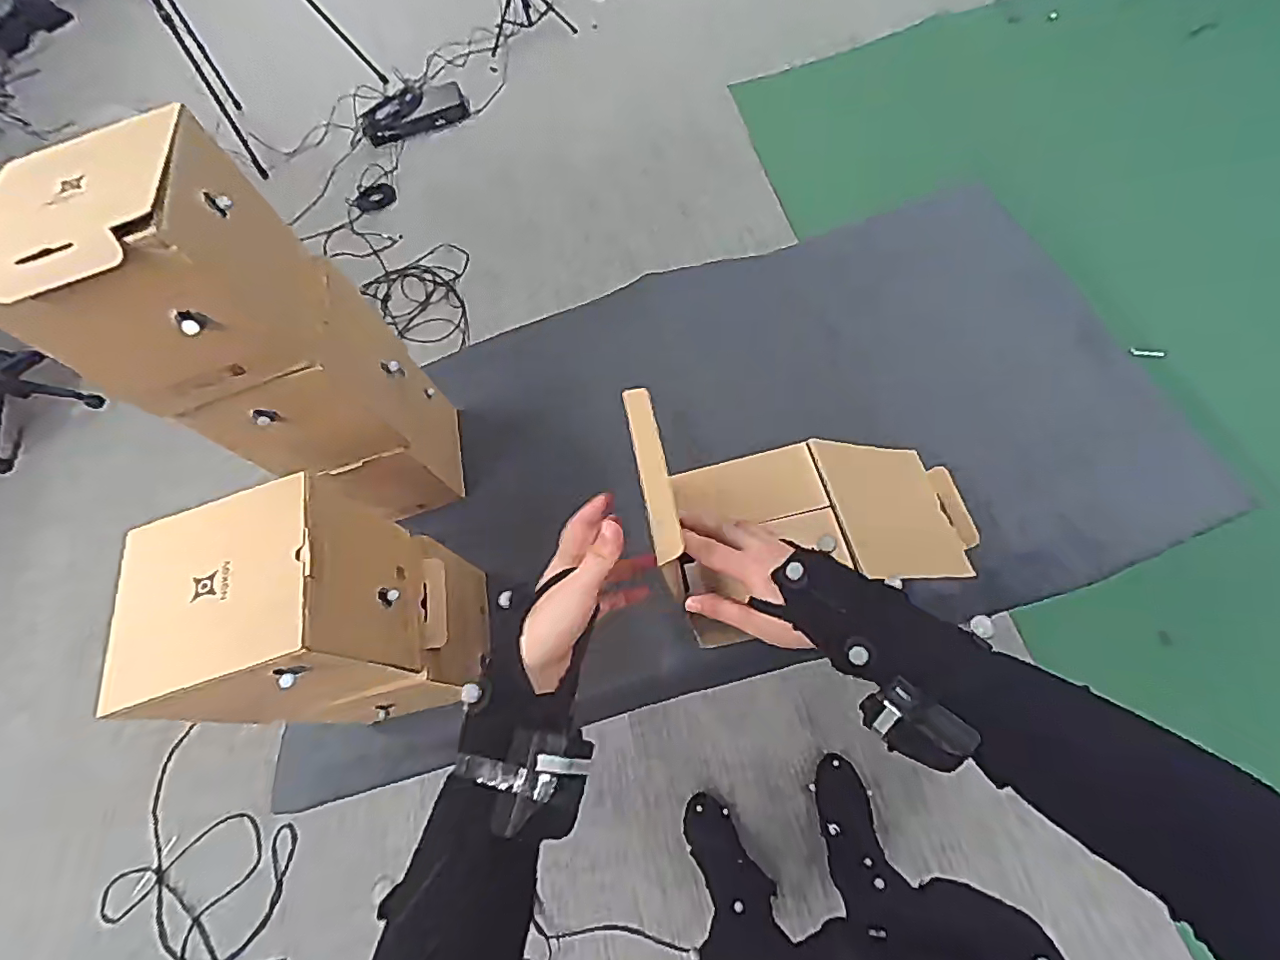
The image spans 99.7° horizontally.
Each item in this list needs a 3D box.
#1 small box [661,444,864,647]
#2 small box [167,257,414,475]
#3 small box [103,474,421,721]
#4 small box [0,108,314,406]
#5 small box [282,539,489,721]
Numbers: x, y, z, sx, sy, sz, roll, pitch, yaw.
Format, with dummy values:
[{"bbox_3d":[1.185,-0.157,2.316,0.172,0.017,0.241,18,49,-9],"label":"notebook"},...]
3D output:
[{"bbox_3d":[0.135,0.086,0.629,0.179,0.176,0.168,-14,62,5],"label":"small box"},{"bbox_3d":[-0.398,-0.124,0.647,0.179,0.176,0.168,-16,64,3],"label":"small box"},{"bbox_3d":[-0.341,0.124,0.522,0.179,0.176,0.168,-19,63,1],"label":"small box"},{"bbox_3d":[-0.433,-0.190,0.503,0.168,0.176,0.179,-19,62,0],"label":"small box"},{"bbox_3d":[-0.297,0.190,0.664,0.179,0.176,0.168,-15,63,4],"label":"small box"}]
